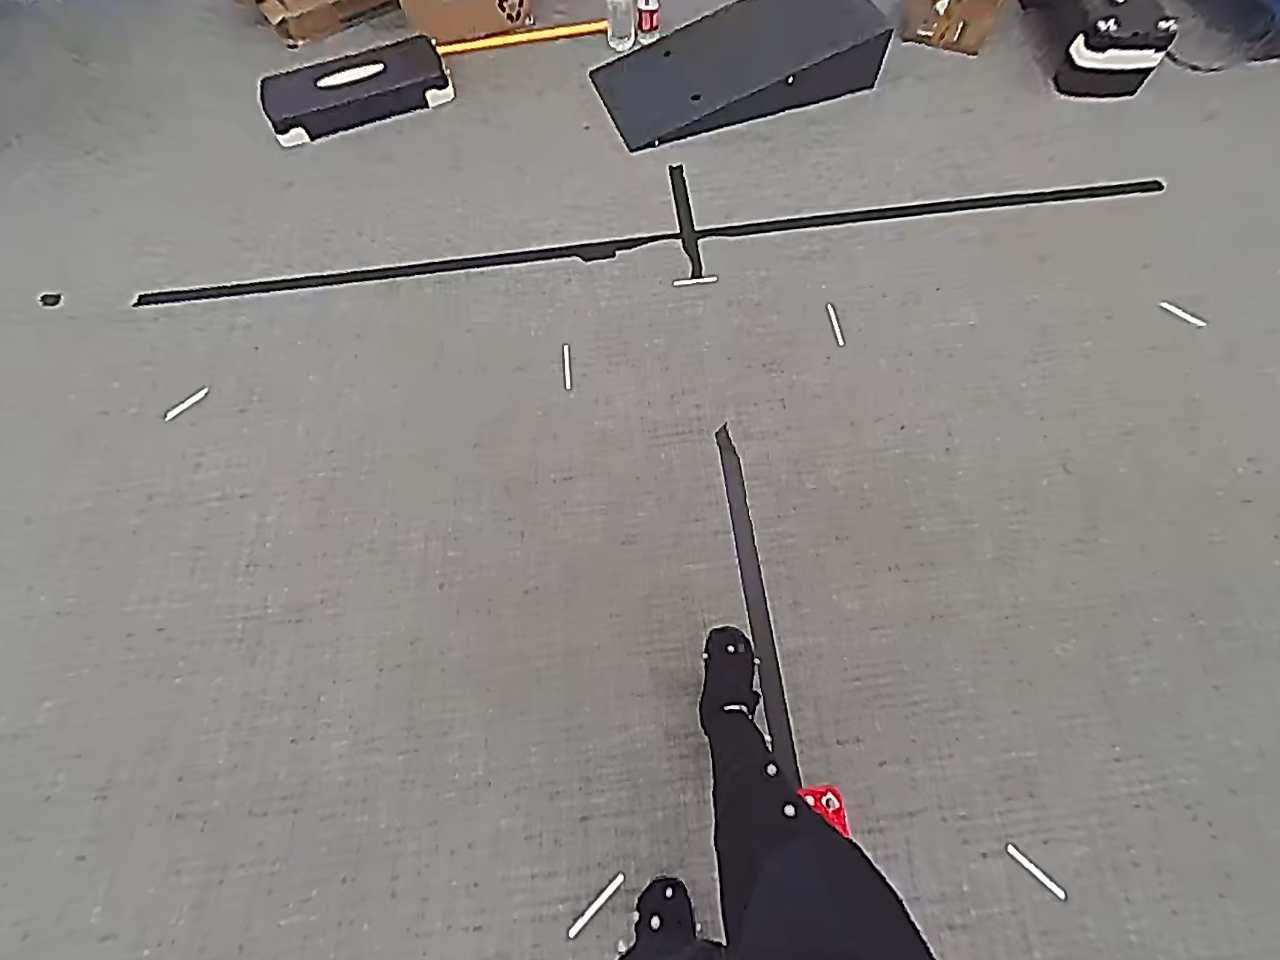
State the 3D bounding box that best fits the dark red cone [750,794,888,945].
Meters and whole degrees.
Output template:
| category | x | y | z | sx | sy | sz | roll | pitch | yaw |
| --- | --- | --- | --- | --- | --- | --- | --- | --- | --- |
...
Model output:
| category | x | y | z | sx | sy | sz | roll | pitch | yaw |
| --- | --- | --- | --- | --- | --- | --- | --- | --- | --- |
| dark red cone | 0.317 | 0.661 | 0.890 | 0.201 | 0.394 | 0.202 | -7 | 66 | -1 |
